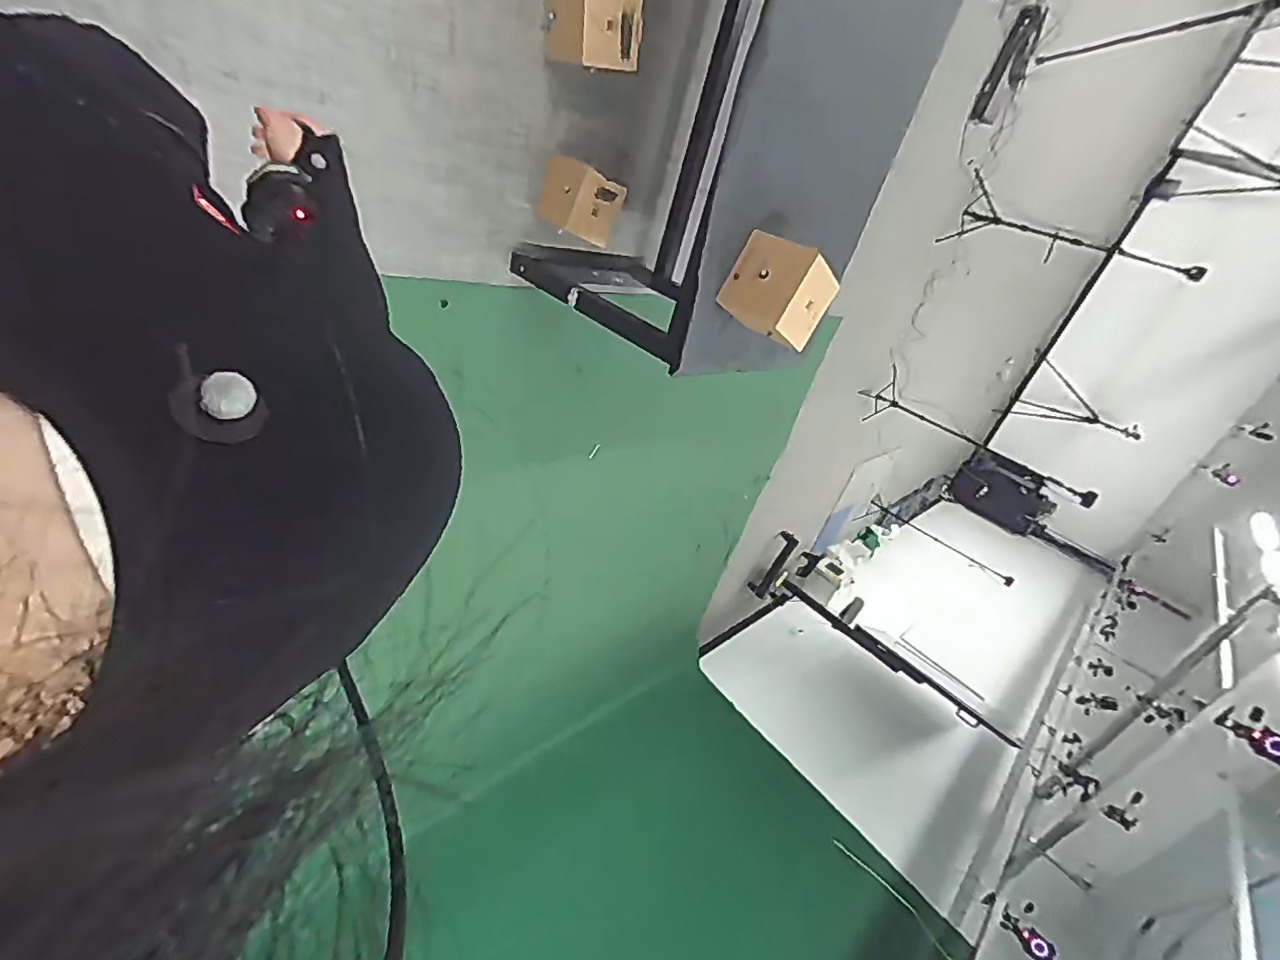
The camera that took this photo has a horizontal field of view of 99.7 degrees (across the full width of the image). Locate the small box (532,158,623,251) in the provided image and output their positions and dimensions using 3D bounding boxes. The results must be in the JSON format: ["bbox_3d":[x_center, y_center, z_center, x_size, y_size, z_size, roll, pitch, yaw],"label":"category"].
[{"bbox_3d":[-0.188,-0.803,1.574,0.168,0.176,0.179,1,122,-51],"label":"small box"}]

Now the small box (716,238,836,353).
[{"bbox_3d":[0.297,-0.410,1.192,0.179,0.176,0.168,10,113,-57],"label":"small box"}]

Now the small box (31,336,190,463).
[{"bbox_3d":[-1.076,-0.167,1.097,0.168,0.176,0.179,-51,148,1],"label":"small box"}]
